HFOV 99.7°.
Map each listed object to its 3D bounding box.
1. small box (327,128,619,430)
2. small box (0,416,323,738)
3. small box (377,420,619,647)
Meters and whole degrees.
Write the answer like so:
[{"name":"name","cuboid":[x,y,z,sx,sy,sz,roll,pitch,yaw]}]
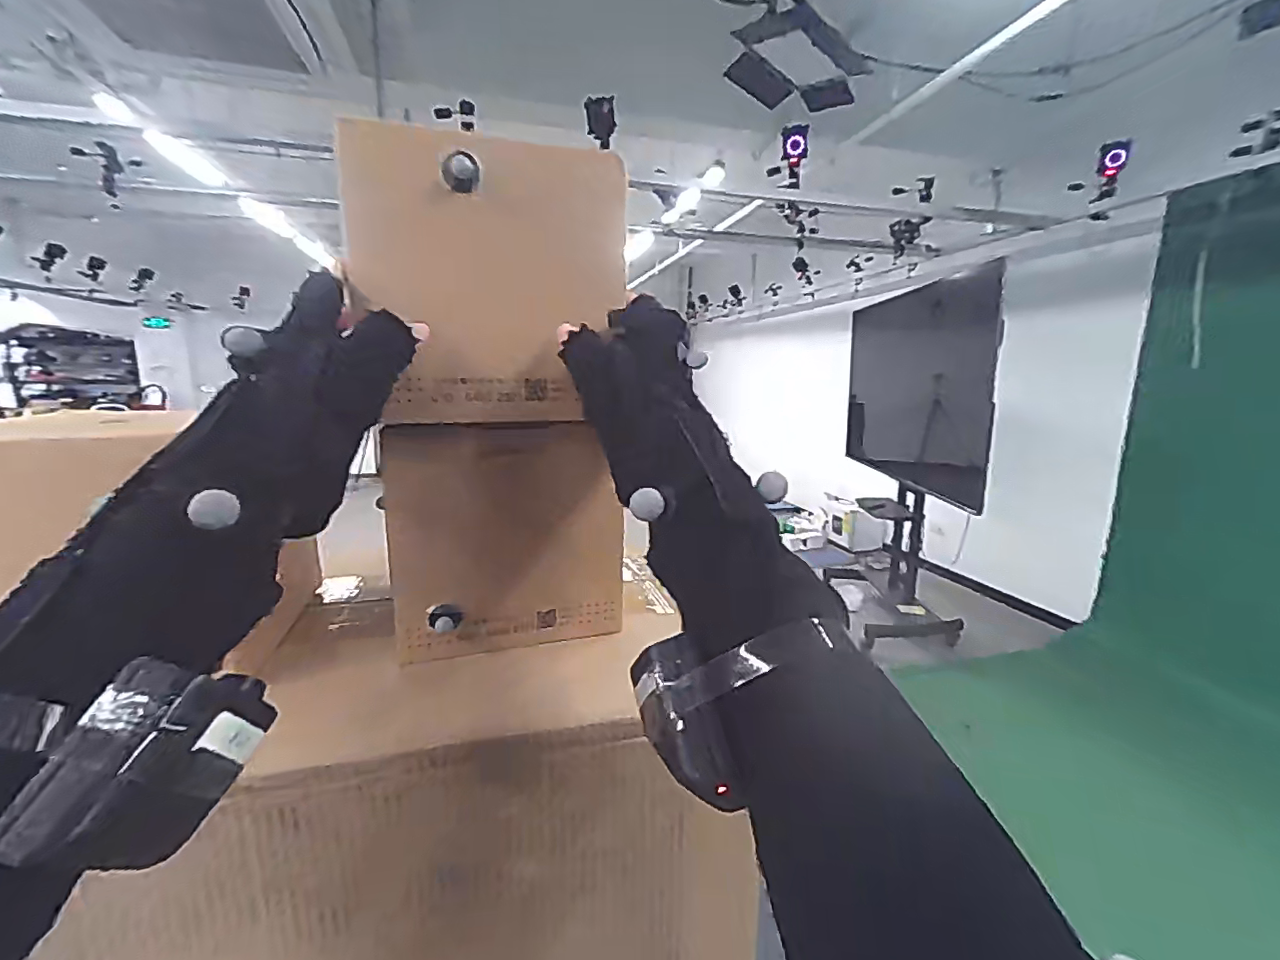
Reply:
[{"name":"small box","cuboid":[-0.115,-0.128,0.407,0.168,0.176,0.179,-4,12,-16]},{"name":"small box","cuboid":[-0.346,0.050,0.386,0.168,0.176,0.179,-5,15,-15]},{"name":"small box","cuboid":[-0.118,0.030,0.463,0.168,0.176,0.179,-4,12,-19]}]
